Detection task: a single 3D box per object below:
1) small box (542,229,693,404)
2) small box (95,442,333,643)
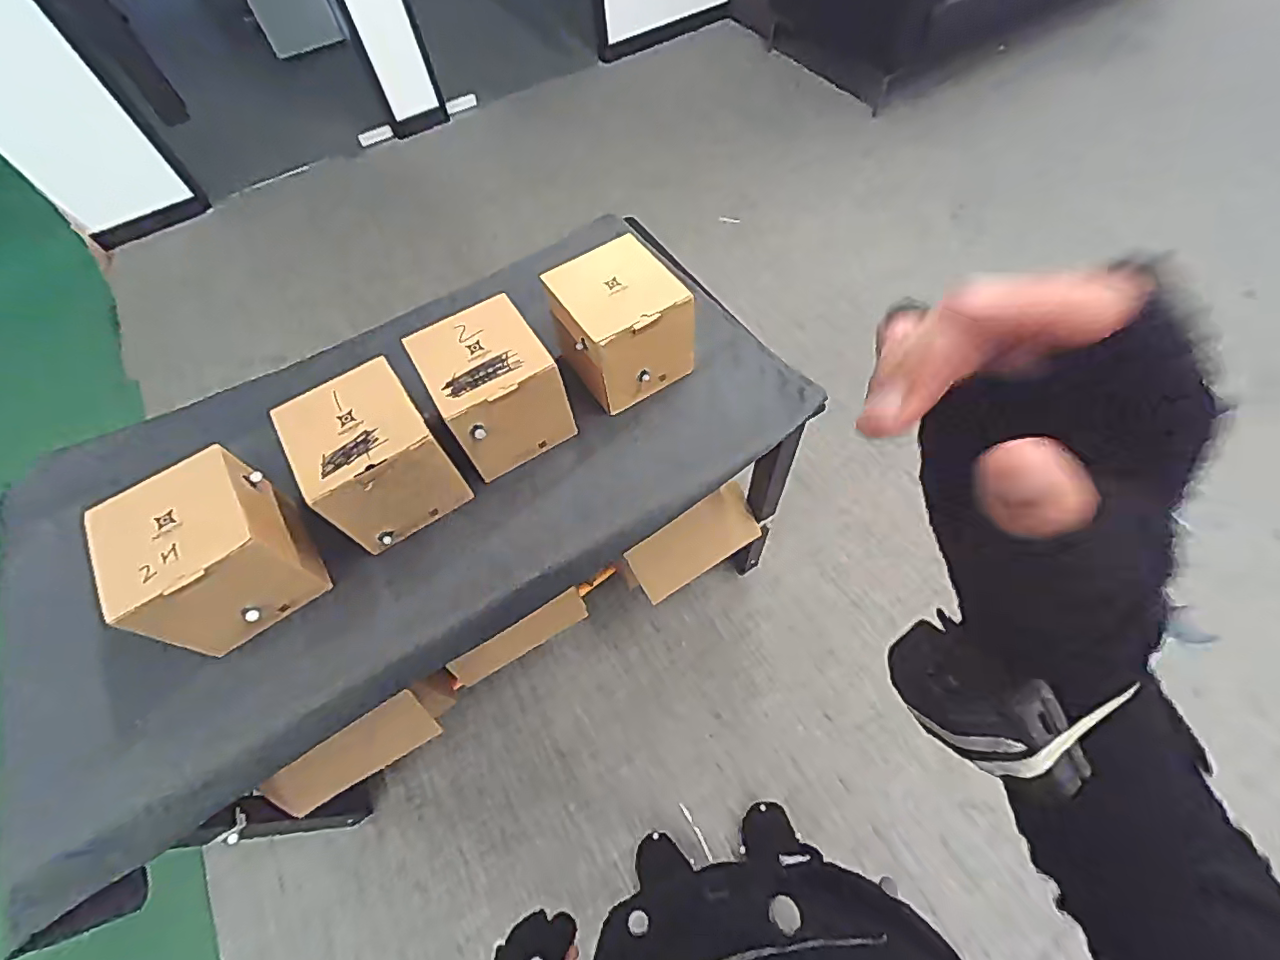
[{"bbox_3d":[-0.033,-0.256,0.866,0.168,0.176,0.179,-32,64,-12],"label":"small box"},{"bbox_3d":[-0.552,0.089,0.719,0.168,0.176,0.179,-34,64,-13],"label":"small box"}]
